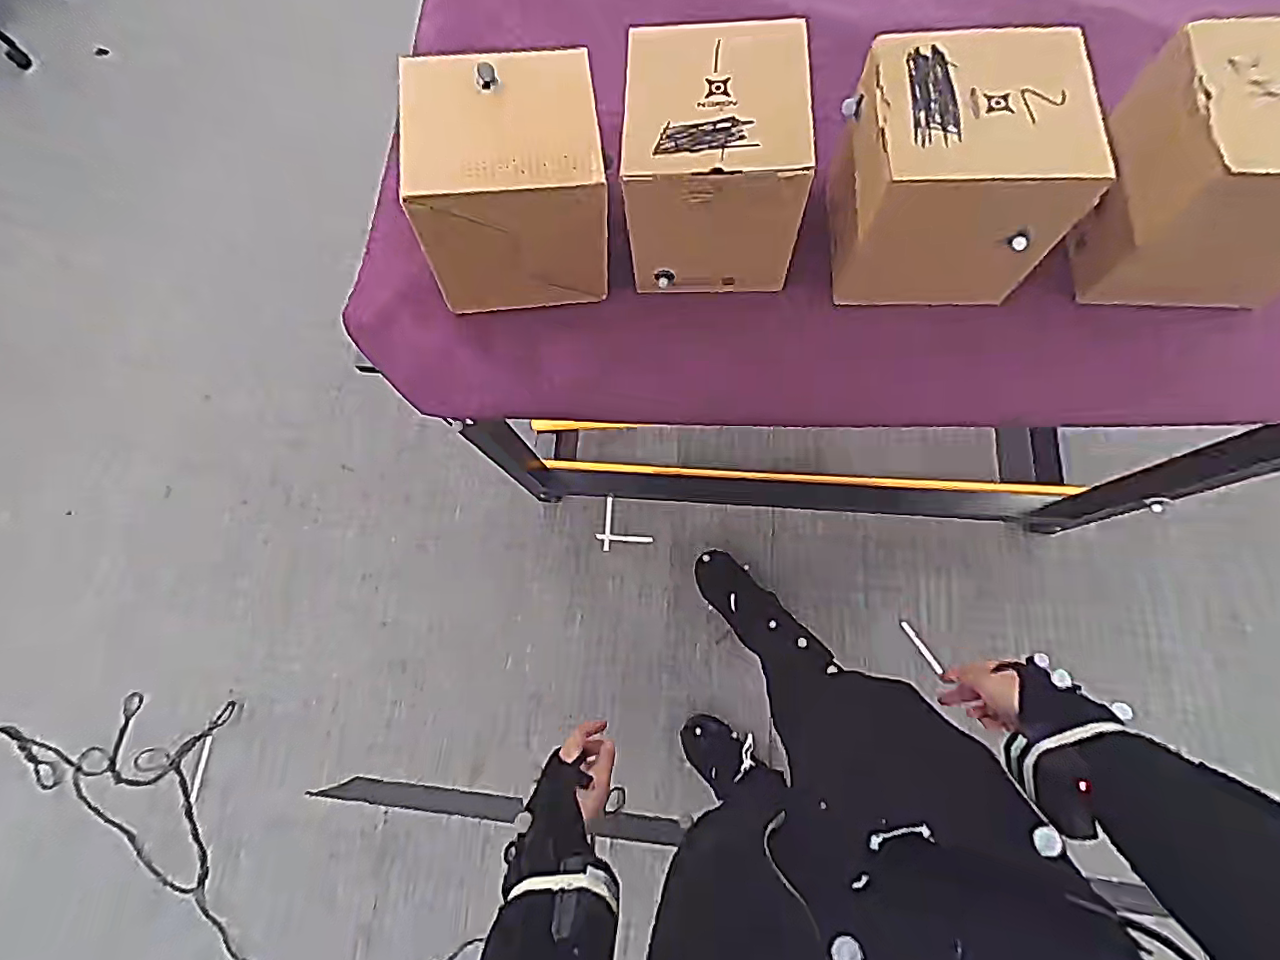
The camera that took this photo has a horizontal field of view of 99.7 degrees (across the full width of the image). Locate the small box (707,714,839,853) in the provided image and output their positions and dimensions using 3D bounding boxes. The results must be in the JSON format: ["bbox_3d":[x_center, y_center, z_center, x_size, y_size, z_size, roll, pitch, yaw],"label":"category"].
[{"bbox_3d":[0.247,0.578,1.041,0.179,0.176,0.168,-37,71,-8],"label":"small box"}]
